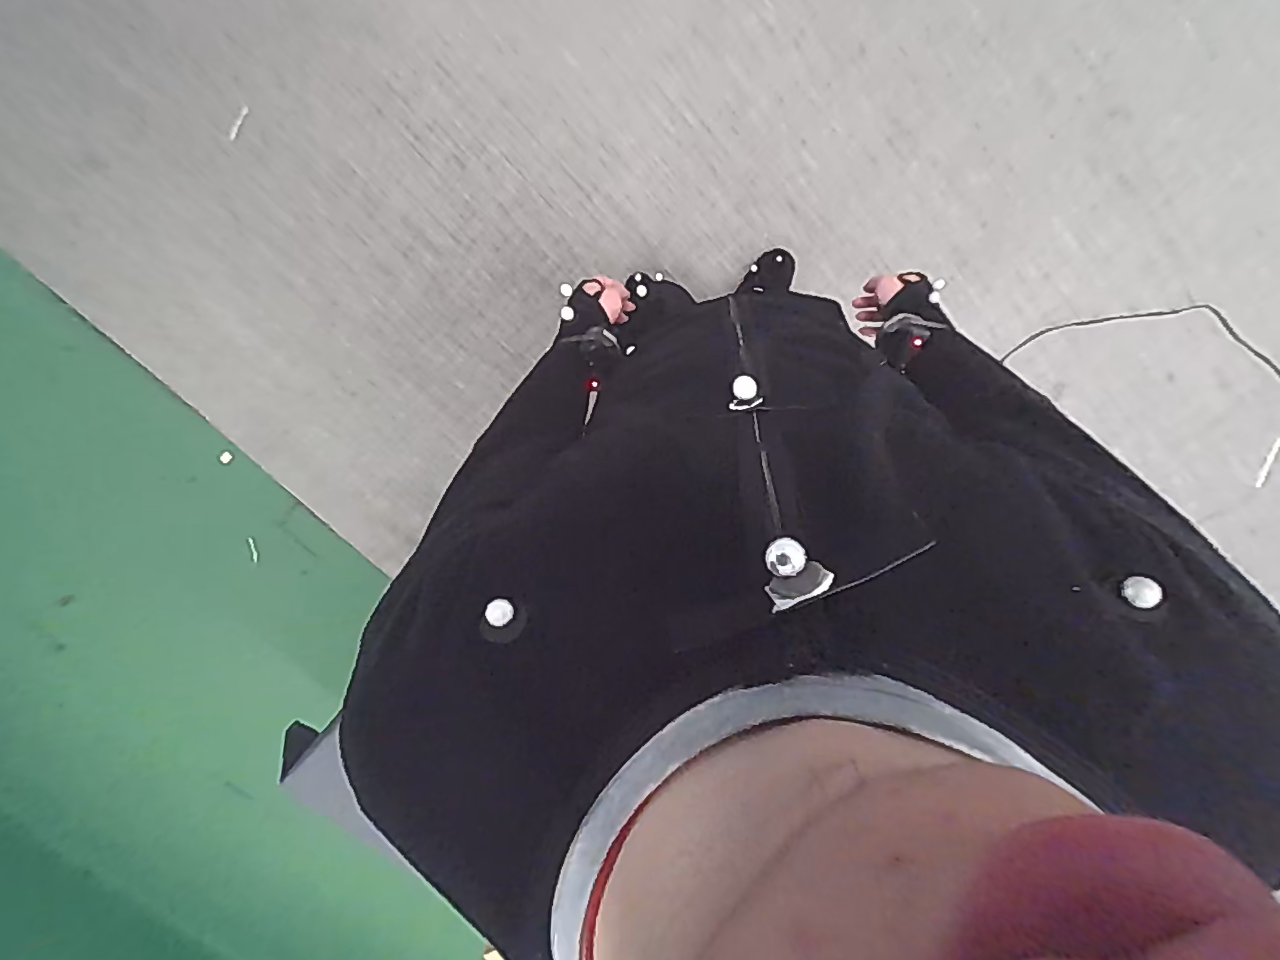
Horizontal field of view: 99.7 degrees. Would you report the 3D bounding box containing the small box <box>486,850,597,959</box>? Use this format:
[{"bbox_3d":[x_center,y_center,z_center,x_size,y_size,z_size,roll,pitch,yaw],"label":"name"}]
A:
[{"bbox_3d":[-0.220,1.011,1.265,0.168,0.176,0.179,45,114,-11],"label":"small box"}]
